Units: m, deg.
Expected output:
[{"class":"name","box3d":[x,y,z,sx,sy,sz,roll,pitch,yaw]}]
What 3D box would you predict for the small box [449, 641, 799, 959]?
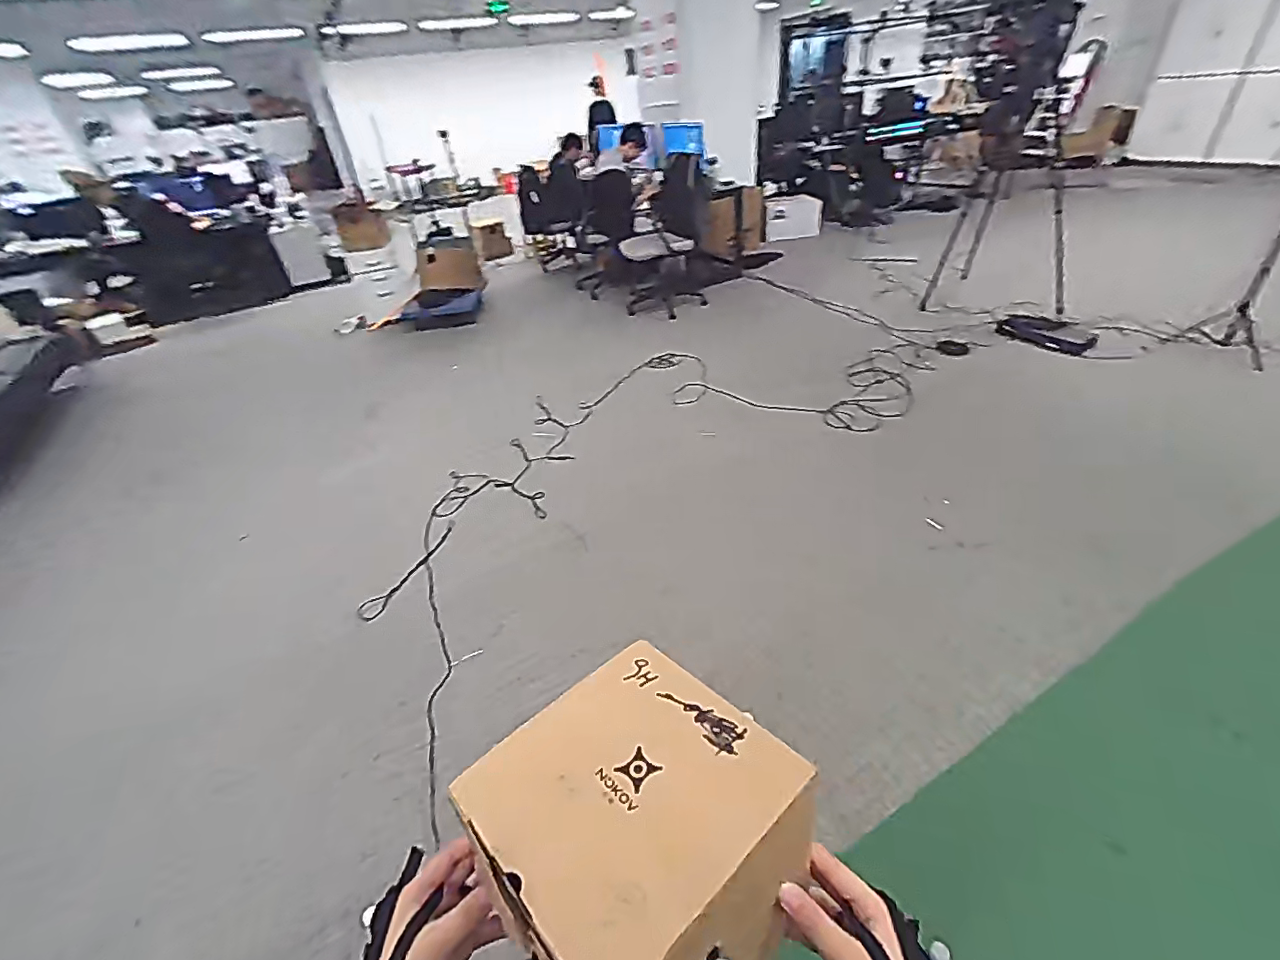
[{"class":"small box","box3d":[-0.002,0.261,0.389,0.179,0.176,0.168,-30,36,-33]}]
